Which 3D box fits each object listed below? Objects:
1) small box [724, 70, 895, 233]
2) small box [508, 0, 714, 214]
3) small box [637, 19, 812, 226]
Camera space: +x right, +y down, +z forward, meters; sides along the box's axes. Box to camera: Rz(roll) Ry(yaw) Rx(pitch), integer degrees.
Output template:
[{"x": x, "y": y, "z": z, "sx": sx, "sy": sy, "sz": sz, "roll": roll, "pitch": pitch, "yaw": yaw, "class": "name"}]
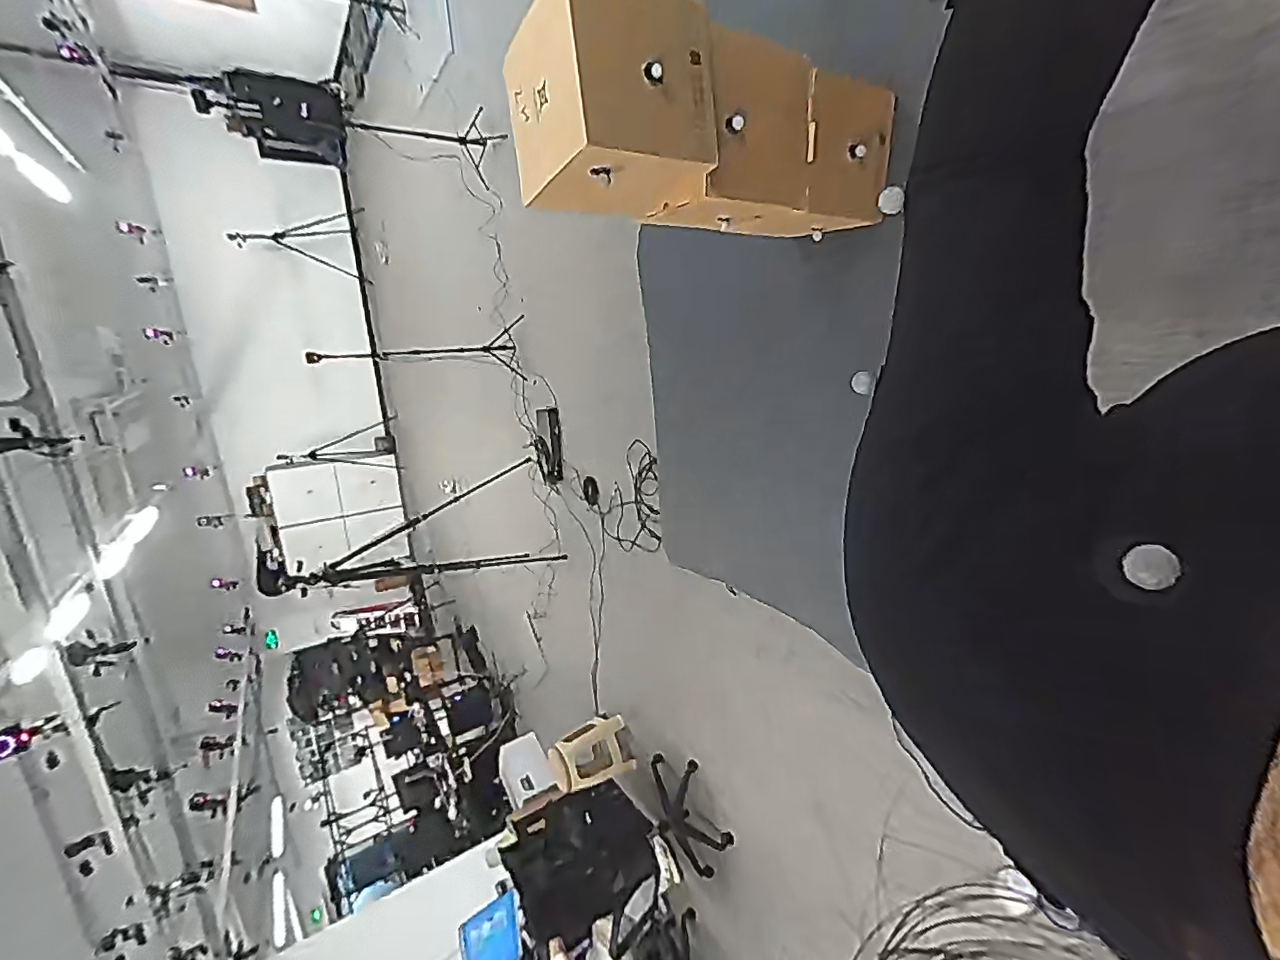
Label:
[{"x": 0.243, "y": -0.462, "z": 0.790, "sx": 0.179, "sy": 0.176, "sz": 0.168, "roll": 23, "pitch": 120, "yaw": 54, "class": "small box"}, {"x": -0.030, "y": -0.417, "z": 0.611, "sx": 0.179, "sy": 0.176, "sz": 0.168, "roll": 7, "pitch": 107, "yaw": 58, "class": "small box"}, {"x": 0.105, "y": -0.441, "z": 0.704, "sx": 0.168, "sy": 0.176, "sz": 0.179, "roll": 21, "pitch": 119, "yaw": 55, "class": "small box"}]
